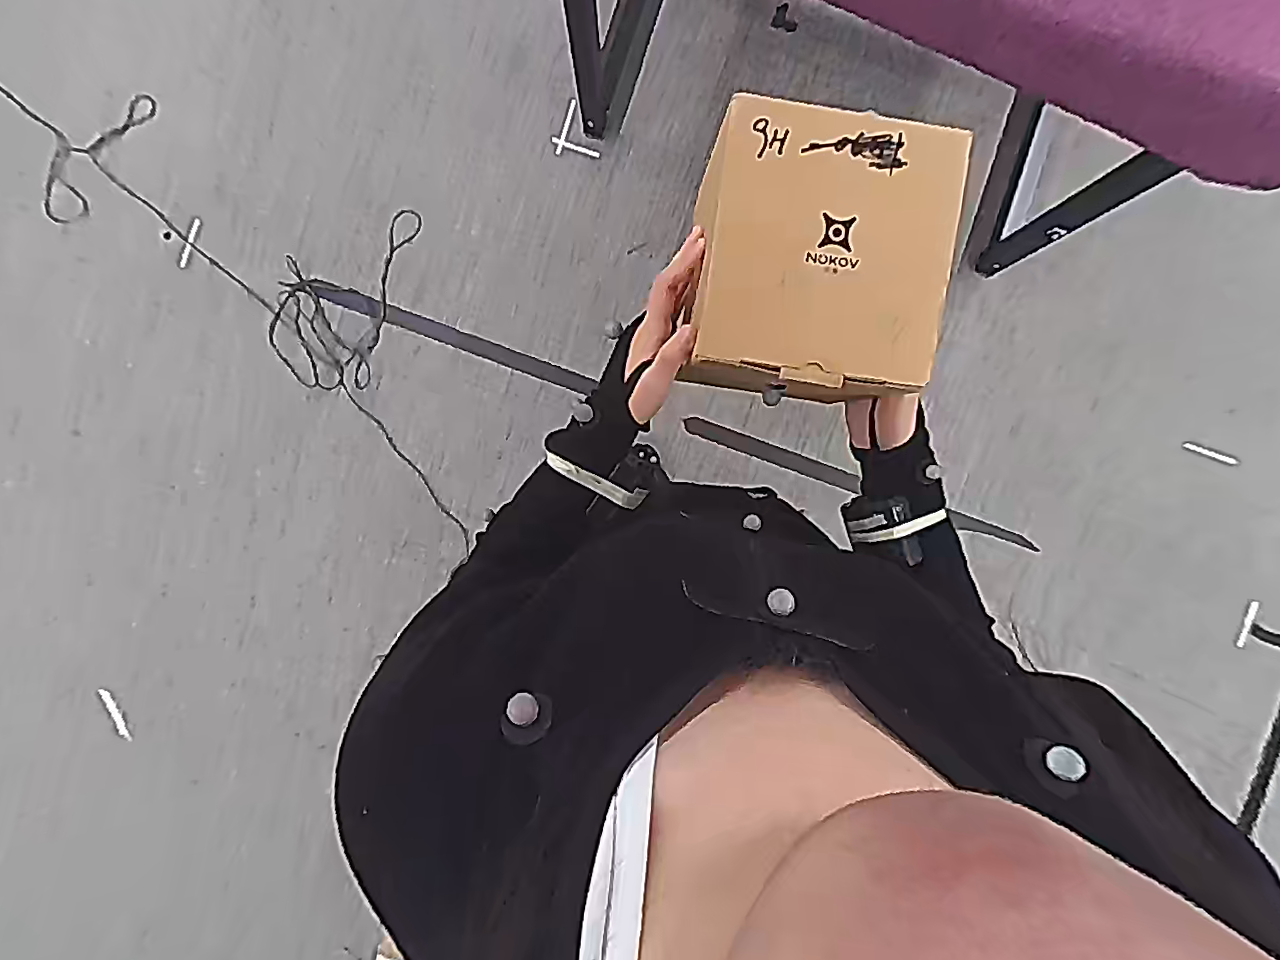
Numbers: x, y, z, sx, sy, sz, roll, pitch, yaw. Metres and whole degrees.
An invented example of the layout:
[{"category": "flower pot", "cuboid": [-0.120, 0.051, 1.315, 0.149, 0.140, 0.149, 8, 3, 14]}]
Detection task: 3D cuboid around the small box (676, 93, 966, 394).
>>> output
[{"category": "small box", "cuboid": [0.127, -0.170, 0.451, 0.168, 0.176, 0.179, 8, 96, -3]}]
